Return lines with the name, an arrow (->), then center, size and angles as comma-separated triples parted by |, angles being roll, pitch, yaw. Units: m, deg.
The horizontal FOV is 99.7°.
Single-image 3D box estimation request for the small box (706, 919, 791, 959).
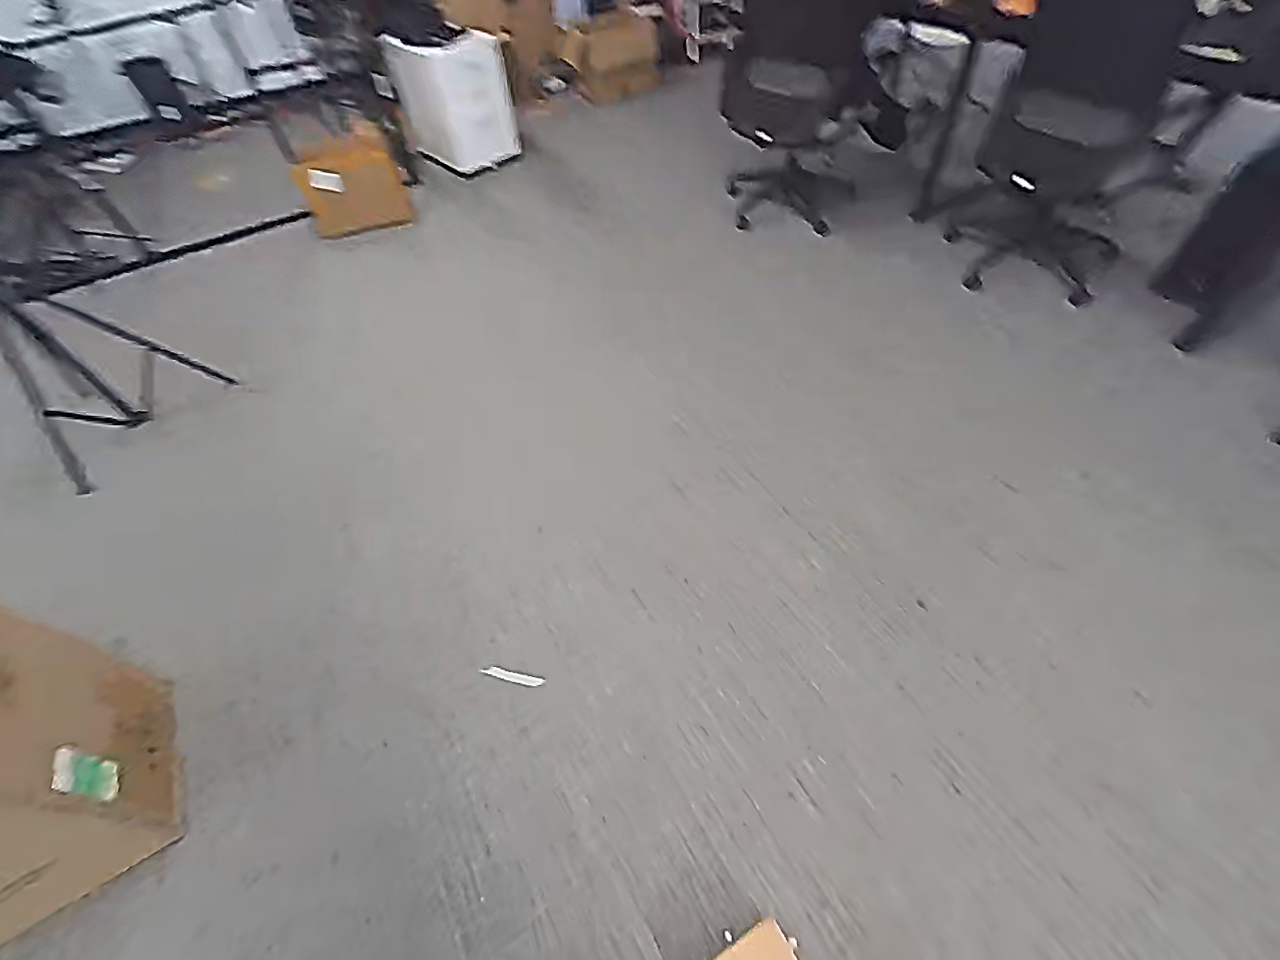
small box -> 0.184, 0.857, 0.872 | 0.168, 0.176, 0.179 | -24, 52, -14
